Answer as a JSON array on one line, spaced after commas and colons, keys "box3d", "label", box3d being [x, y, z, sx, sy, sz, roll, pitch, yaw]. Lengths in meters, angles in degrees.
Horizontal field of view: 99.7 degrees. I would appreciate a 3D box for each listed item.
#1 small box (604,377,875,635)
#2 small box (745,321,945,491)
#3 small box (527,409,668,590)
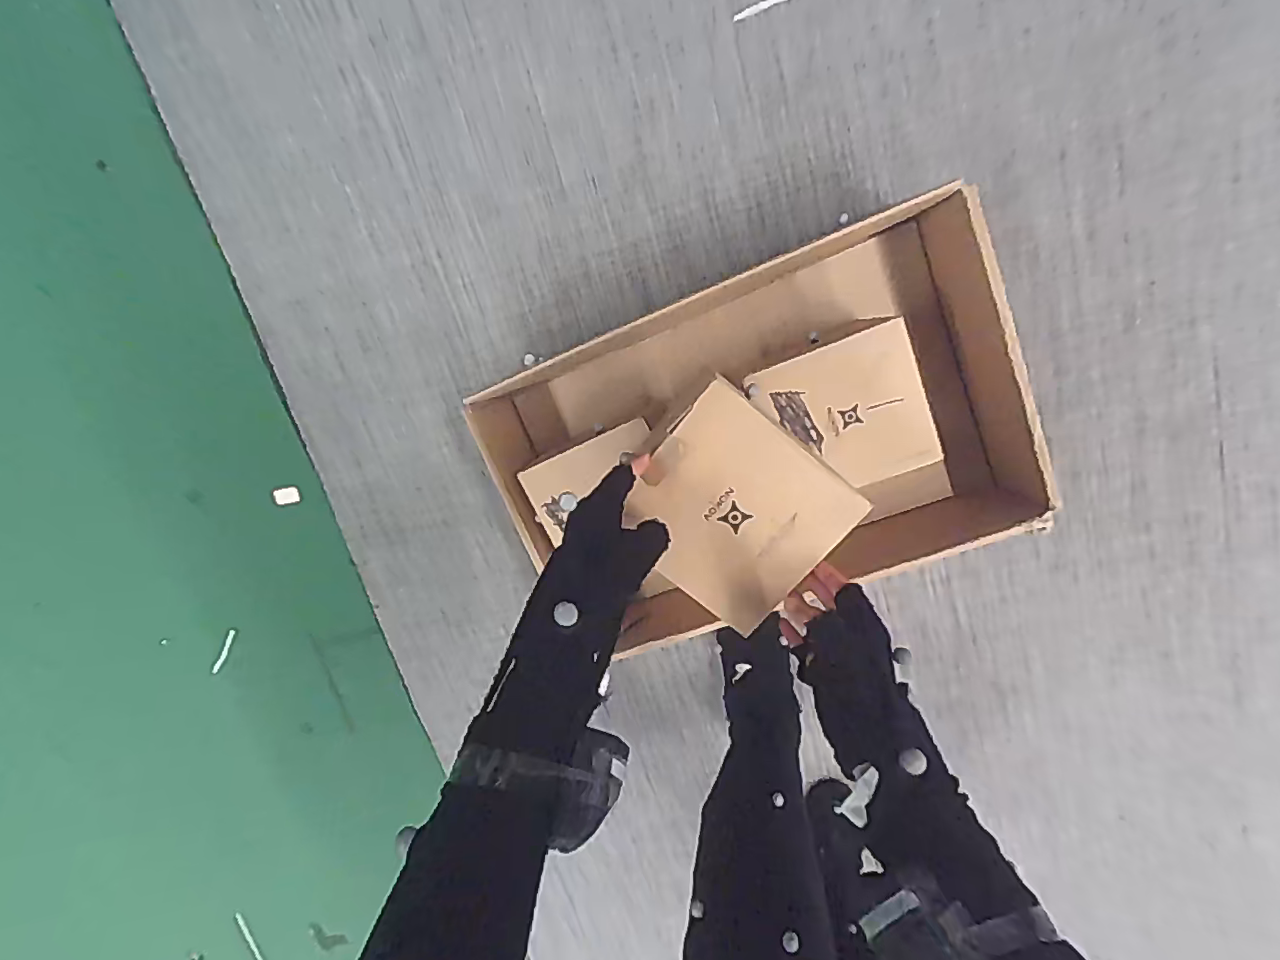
[{"box3d": [0.089, 0.011, 0.543, 0.179, 0.176, 0.168, 36, 106, -6], "label": "small box"}, {"box3d": [0.236, -0.084, 0.669, 0.179, 0.176, 0.168, -20, 102, 11], "label": "small box"}, {"box3d": [-0.021, 0.016, 0.730, 0.179, 0.176, 0.168, -24, 100, 11], "label": "small box"}]
